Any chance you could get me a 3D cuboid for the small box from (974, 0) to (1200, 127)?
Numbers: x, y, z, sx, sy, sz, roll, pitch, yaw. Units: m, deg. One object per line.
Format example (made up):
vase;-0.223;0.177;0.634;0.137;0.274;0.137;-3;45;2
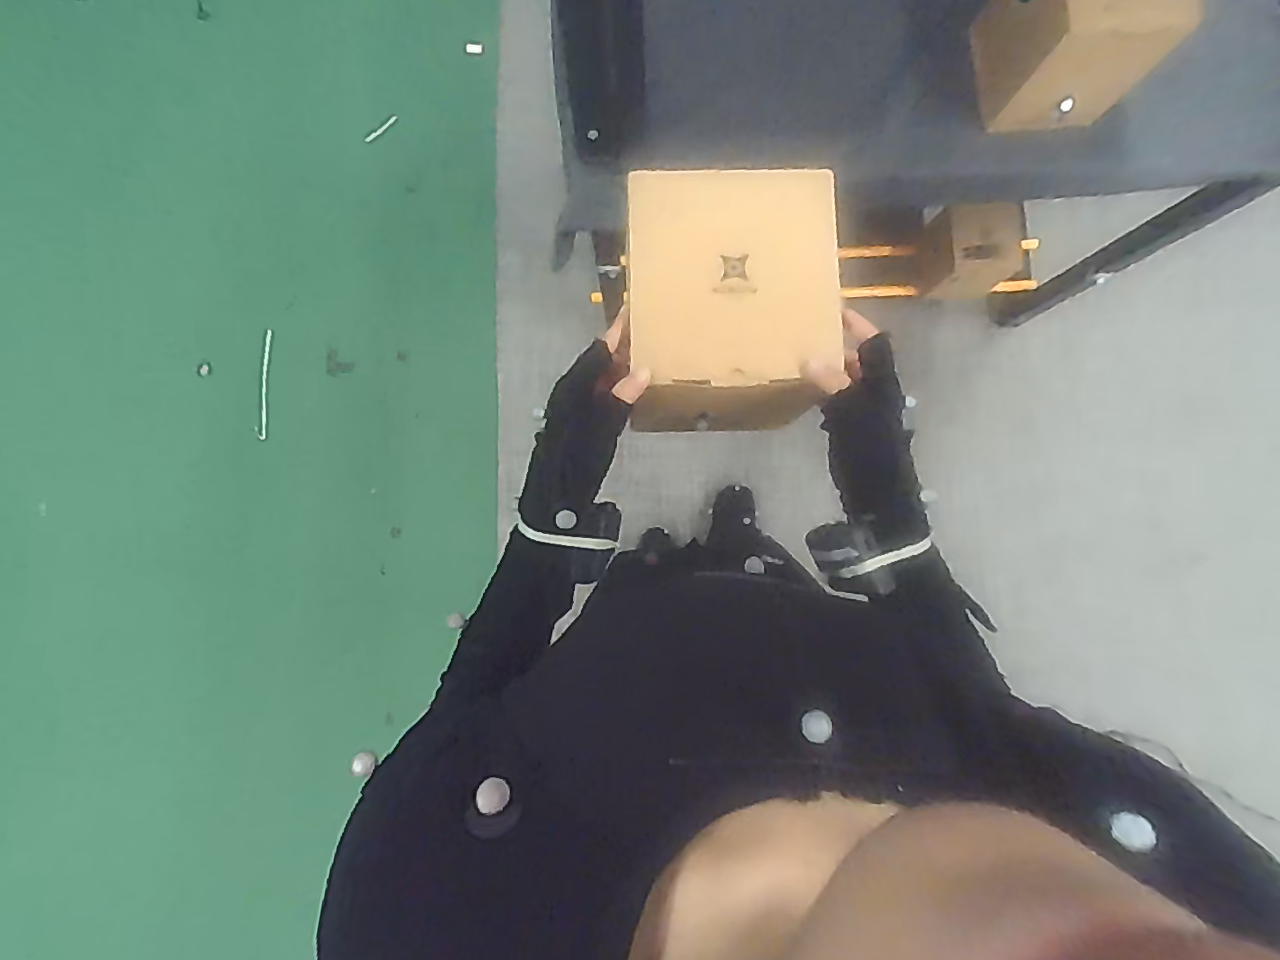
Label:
small box;0.598;-0.634;0.751;0.168;0.176;0.179;-5;83;0
